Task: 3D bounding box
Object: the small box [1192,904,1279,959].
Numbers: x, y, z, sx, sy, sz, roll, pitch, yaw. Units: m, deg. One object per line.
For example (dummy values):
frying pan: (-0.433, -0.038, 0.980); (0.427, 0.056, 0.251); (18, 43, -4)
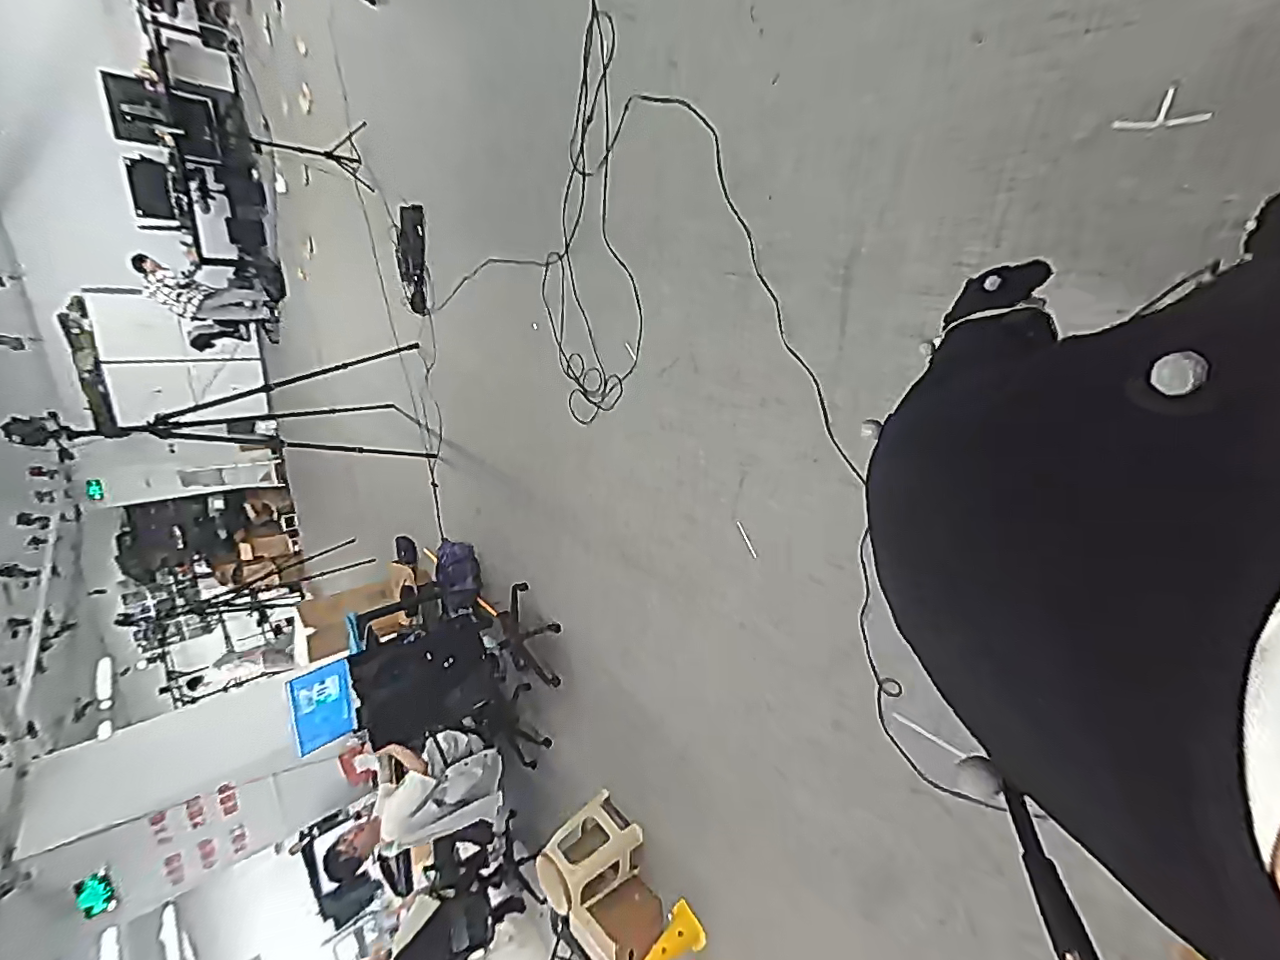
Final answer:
small box: (1.109, 0.875, 0.932); (0.168, 0.176, 0.179); (54, 135, 24)
